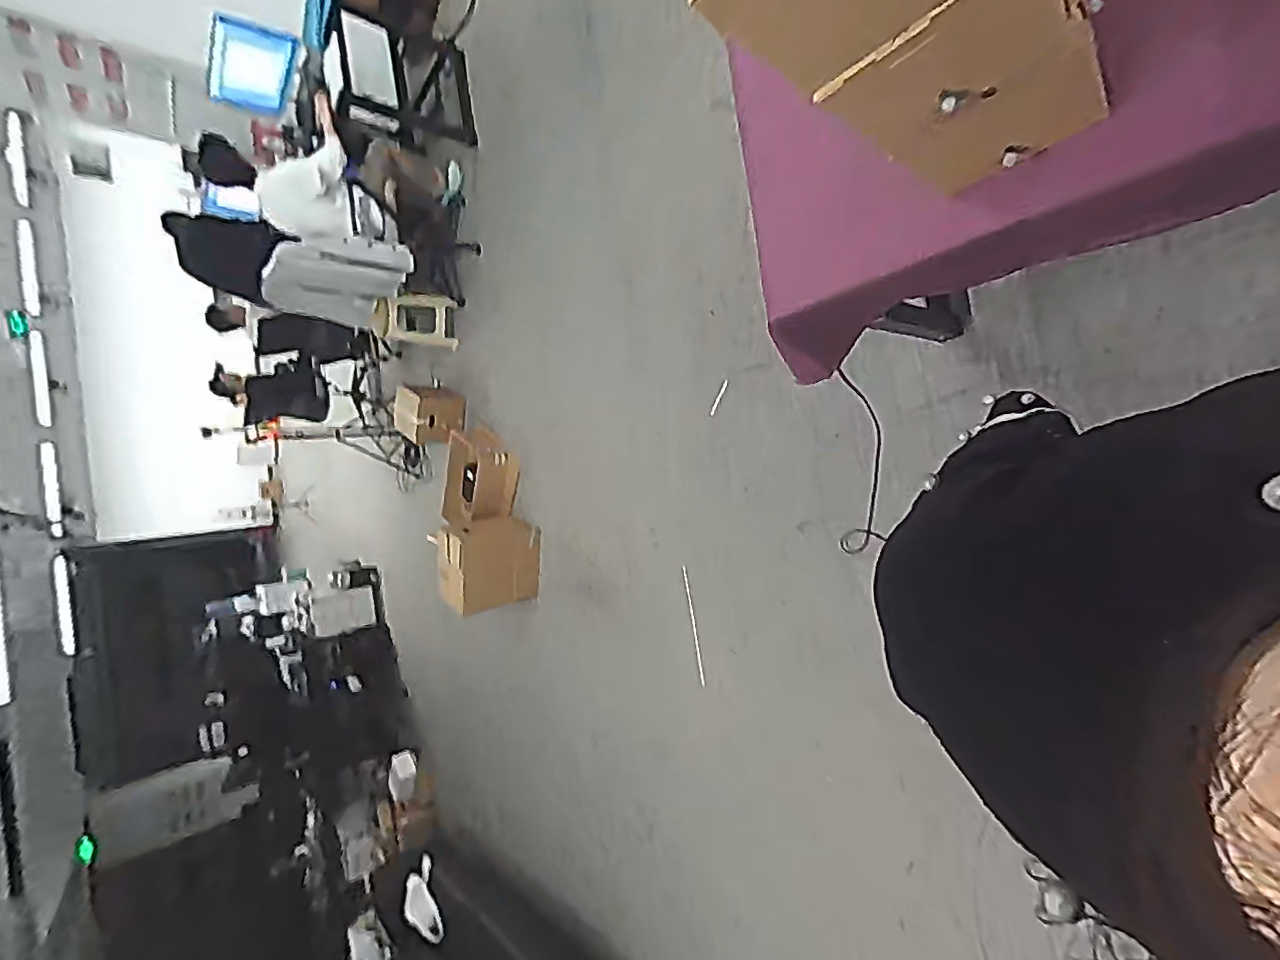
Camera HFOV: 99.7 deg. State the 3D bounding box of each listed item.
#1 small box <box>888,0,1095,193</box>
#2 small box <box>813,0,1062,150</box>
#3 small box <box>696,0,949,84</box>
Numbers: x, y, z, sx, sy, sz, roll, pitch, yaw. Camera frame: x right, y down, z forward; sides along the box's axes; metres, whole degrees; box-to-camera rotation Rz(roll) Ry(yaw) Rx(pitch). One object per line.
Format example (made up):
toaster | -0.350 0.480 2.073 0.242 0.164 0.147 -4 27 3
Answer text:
small box | 0.394 -0.468 0.620 0.179 0.176 0.168 -12 86 48
small box | 0.271 -0.459 0.510 0.168 0.176 0.179 -10 88 49
small box | 0.152 -0.447 0.398 0.179 0.176 0.168 -7 89 48
